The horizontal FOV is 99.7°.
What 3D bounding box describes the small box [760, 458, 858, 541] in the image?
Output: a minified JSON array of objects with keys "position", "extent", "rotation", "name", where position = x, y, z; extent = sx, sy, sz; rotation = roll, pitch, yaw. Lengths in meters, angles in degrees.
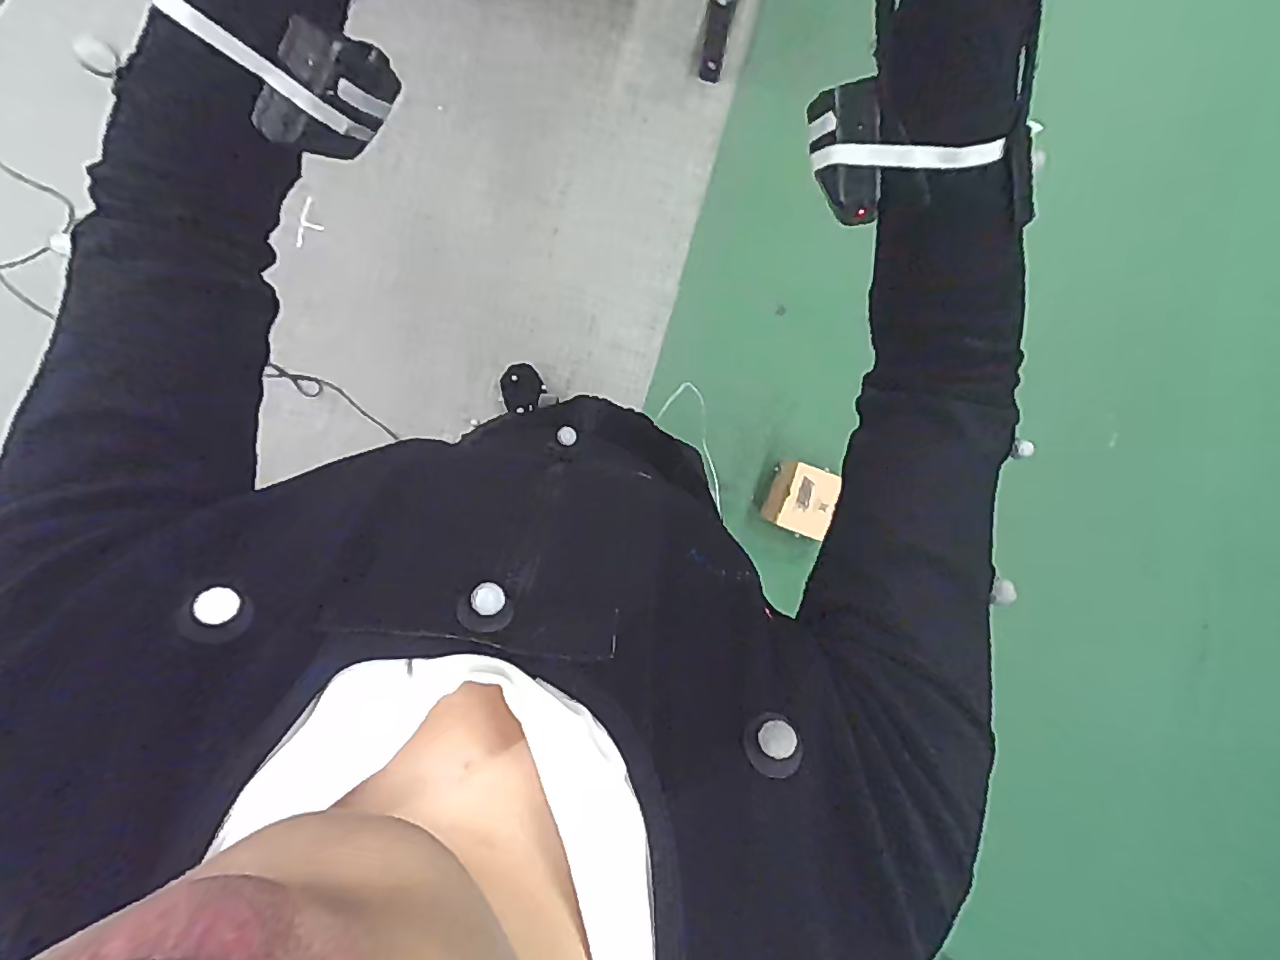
[{"position":[0.427,0.045,1.398],"extent":[0.179,0.176,0.168],"rotation":[17,94,-1],"name":"small box"}]
